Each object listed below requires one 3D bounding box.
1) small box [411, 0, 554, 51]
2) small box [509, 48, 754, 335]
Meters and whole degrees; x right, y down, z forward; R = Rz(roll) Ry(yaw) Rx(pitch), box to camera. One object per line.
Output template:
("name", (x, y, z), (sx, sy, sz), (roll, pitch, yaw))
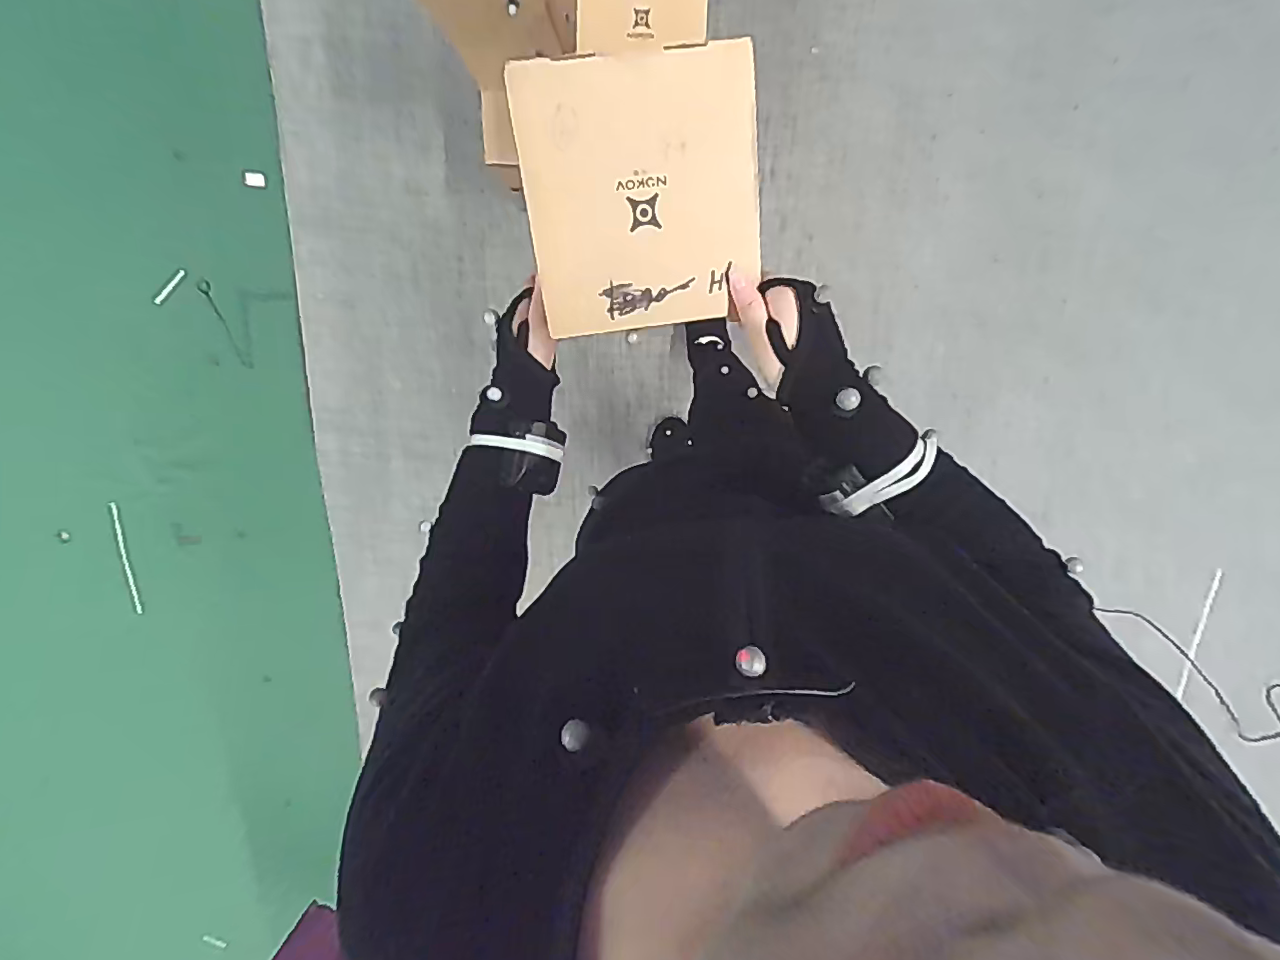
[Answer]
("small box", (-0.218, -0.730, 0.745), (0.179, 0.176, 0.168), (0, 102, 4))
("small box", (-0.008, -0.225, 0.459), (0.168, 0.176, 0.179), (-7, 111, -3))
